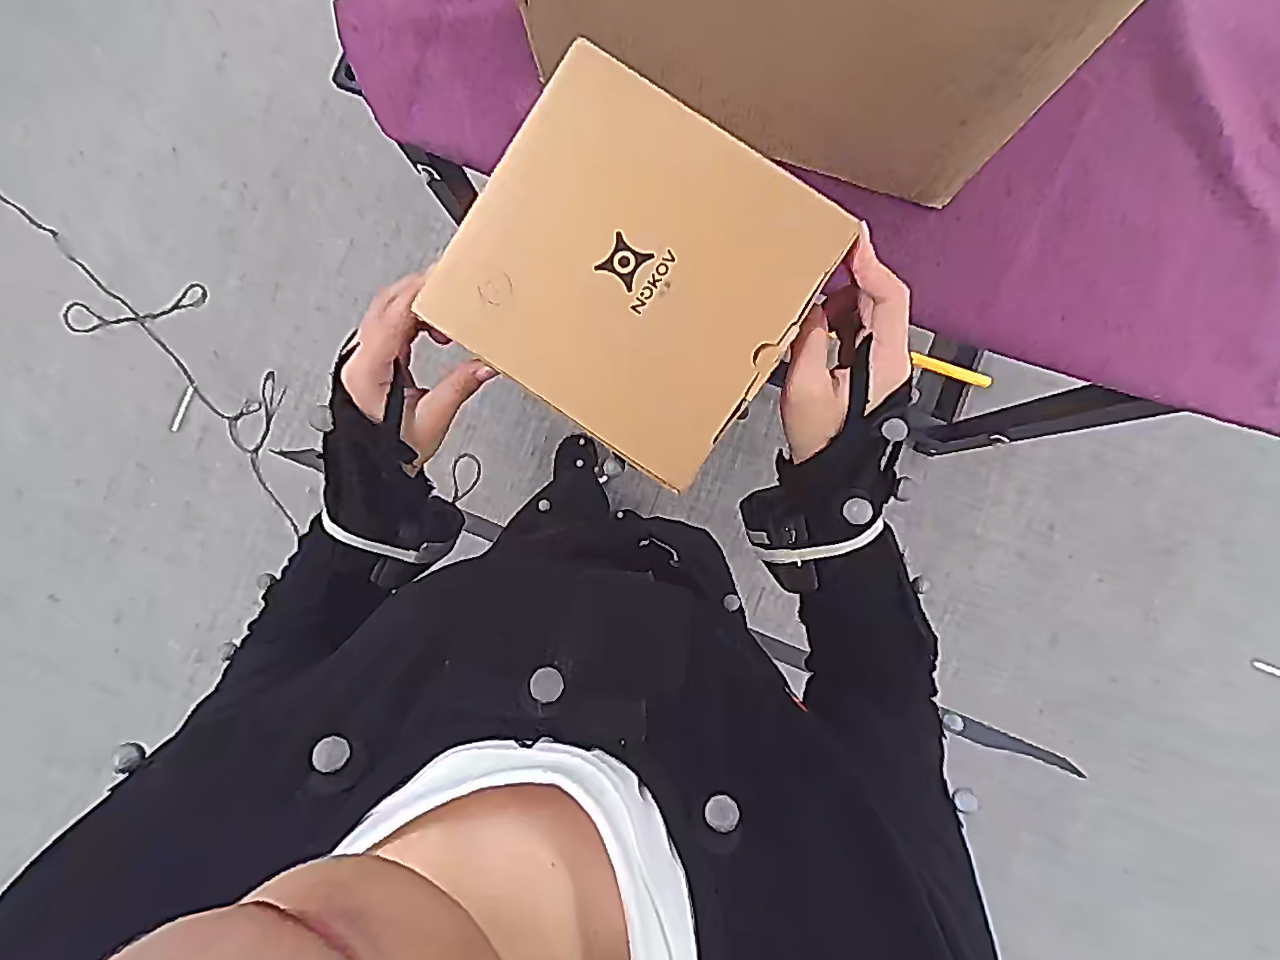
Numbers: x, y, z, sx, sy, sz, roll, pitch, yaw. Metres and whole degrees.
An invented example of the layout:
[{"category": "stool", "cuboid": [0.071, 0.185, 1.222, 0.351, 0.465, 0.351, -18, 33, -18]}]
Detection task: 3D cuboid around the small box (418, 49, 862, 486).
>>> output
[{"category": "small box", "cuboid": [0.000, -0.110, 0.358, 0.179, 0.176, 0.168, 34, 93, 0]}]
